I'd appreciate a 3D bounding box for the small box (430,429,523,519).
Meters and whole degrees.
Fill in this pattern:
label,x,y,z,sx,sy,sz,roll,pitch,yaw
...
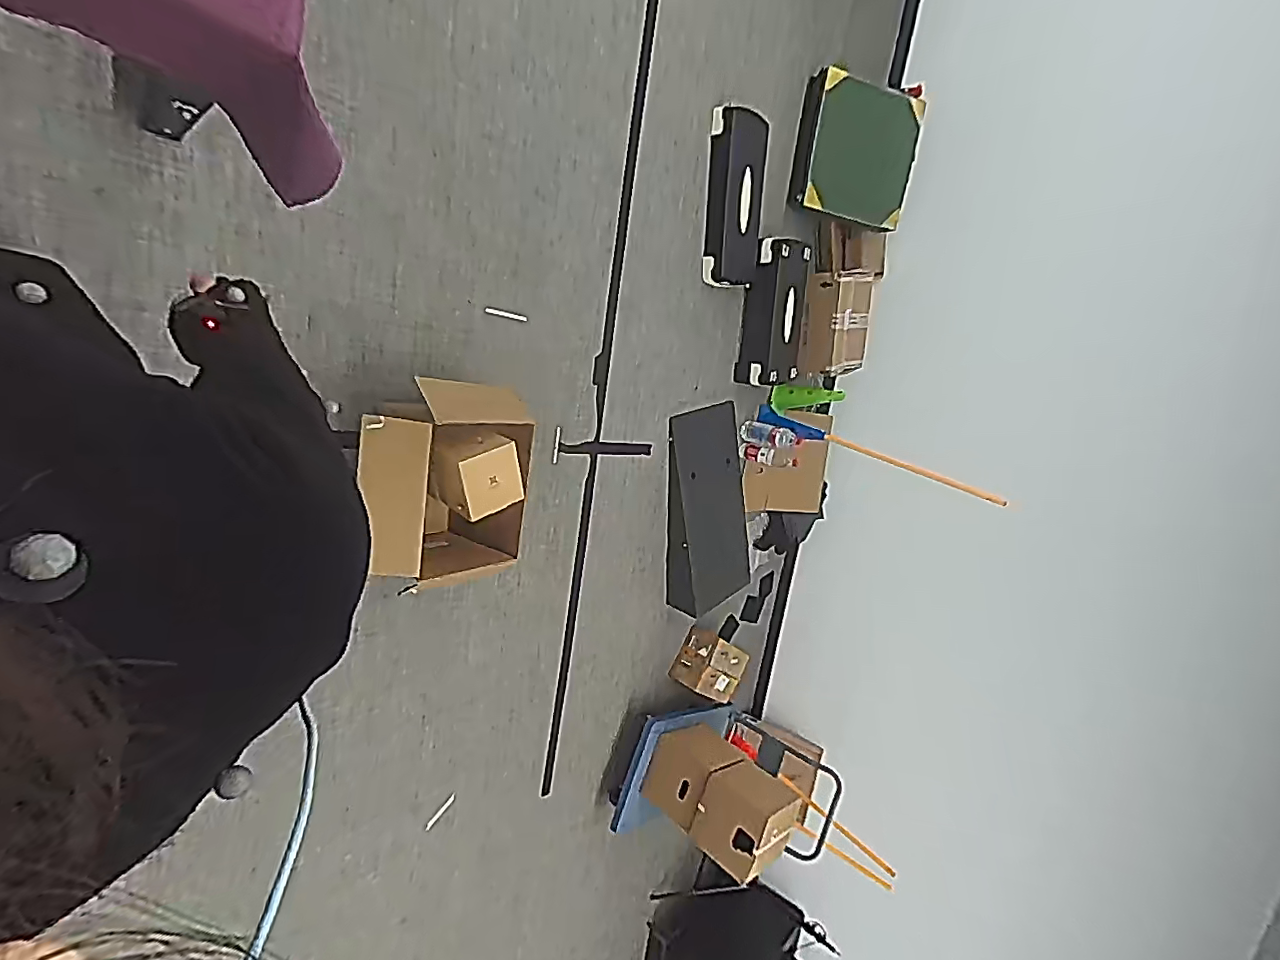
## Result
label,x,y,z,sx,sy,sz,roll,pitch,yaw
small box,-0.439,-0.027,1.449,0.168,0.176,0.179,-28,128,-37
